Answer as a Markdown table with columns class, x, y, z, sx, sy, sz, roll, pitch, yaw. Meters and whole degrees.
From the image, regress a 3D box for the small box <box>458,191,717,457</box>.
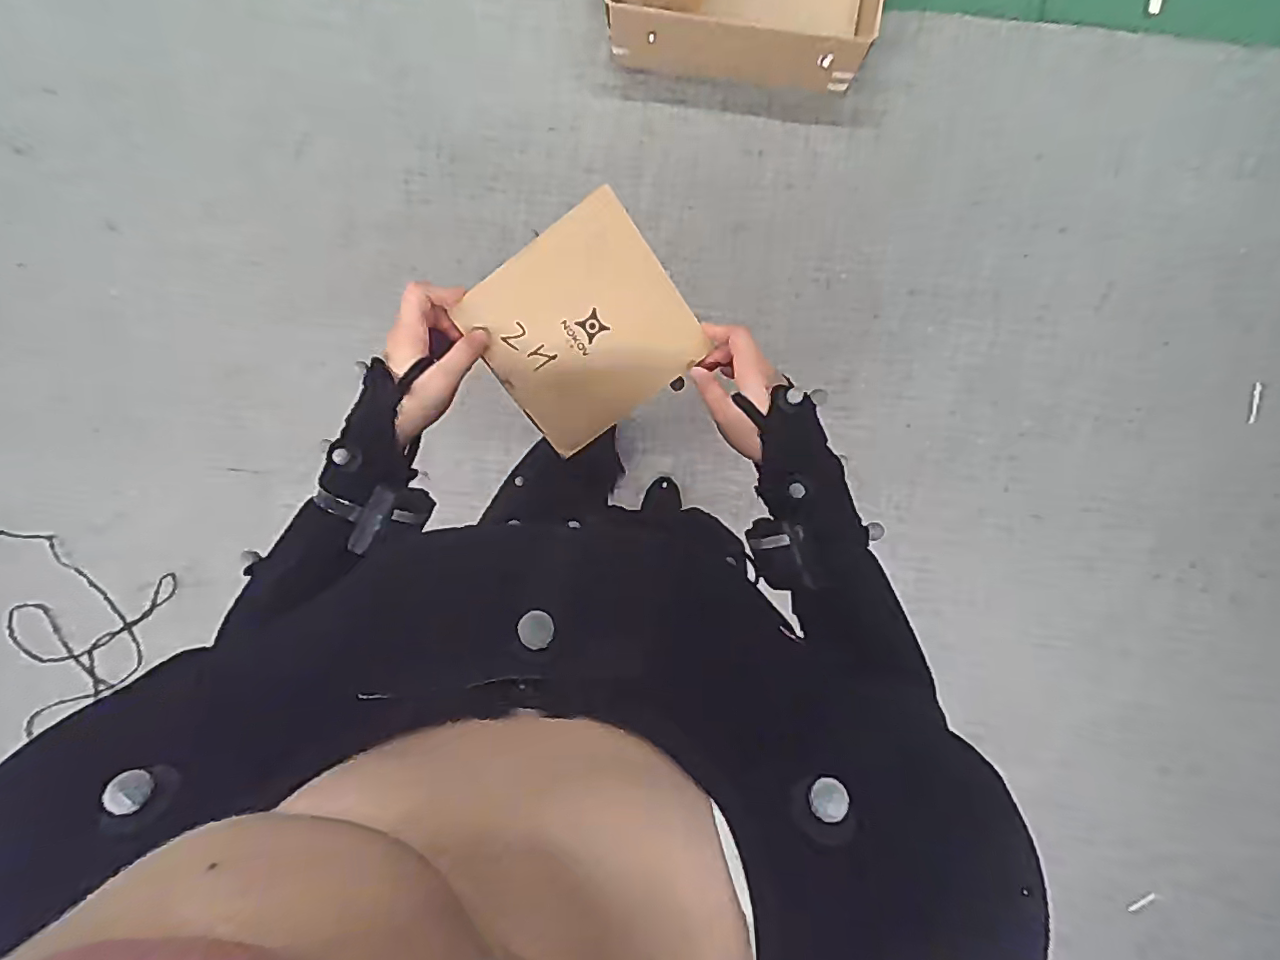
| class | x | y | z | sx | sy | sz | roll | pitch | yaw |
| --- | --- | --- | --- | --- | --- | --- | --- | --- | --- |
| small box | -0.050 | -0.154 | 0.554 | 0.179 | 0.176 | 0.168 | -36 | 105 | 7 |
